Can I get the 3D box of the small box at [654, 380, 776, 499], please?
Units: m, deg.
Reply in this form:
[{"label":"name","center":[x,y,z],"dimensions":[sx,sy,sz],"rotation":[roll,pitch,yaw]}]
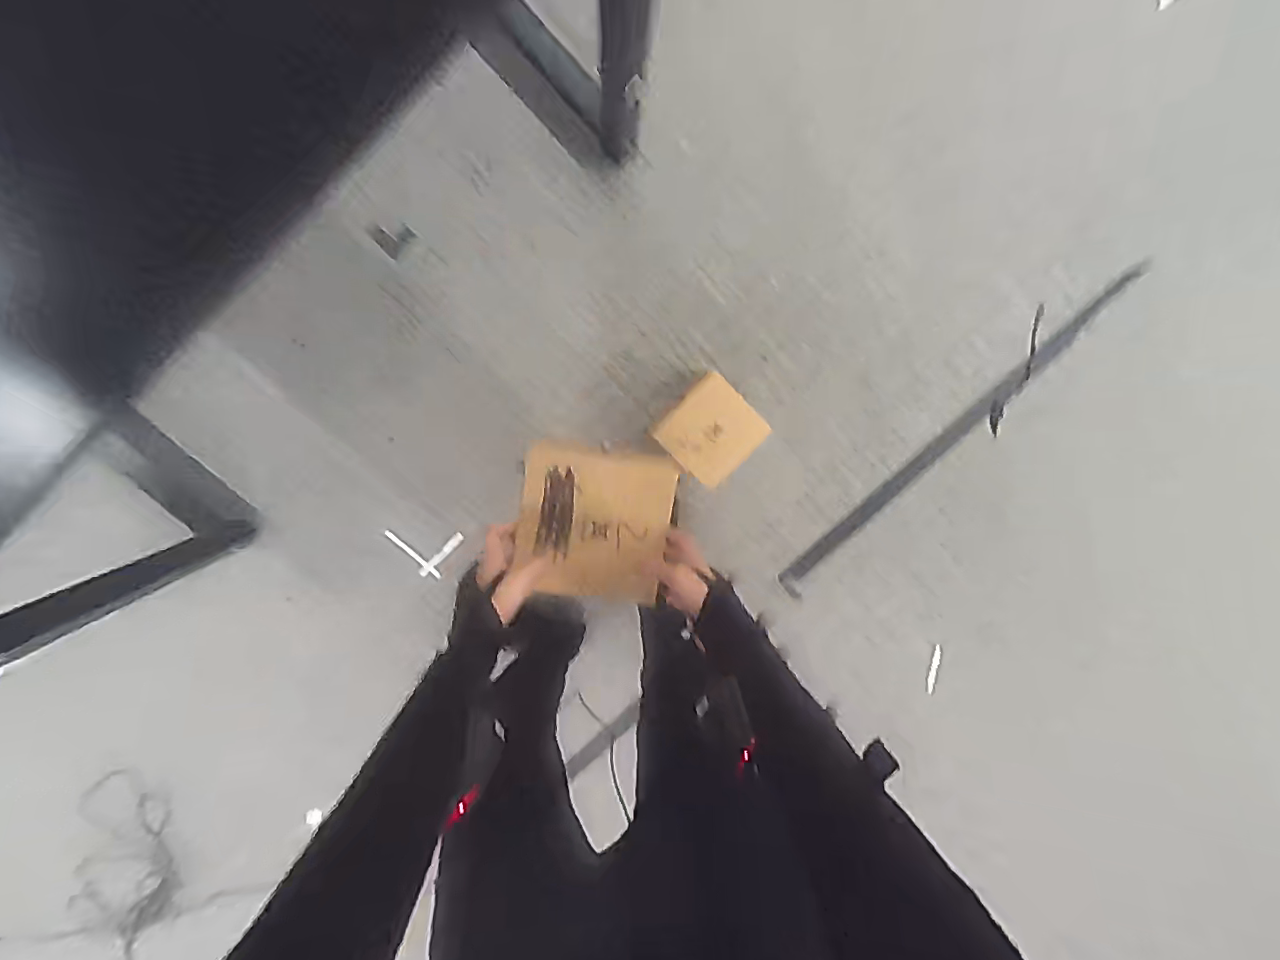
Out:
[{"label":"small box","center":[0.143,-0.092,1.121],"dimensions":[0.168,0.176,0.179],"rotation":[43,96,-9]}]
